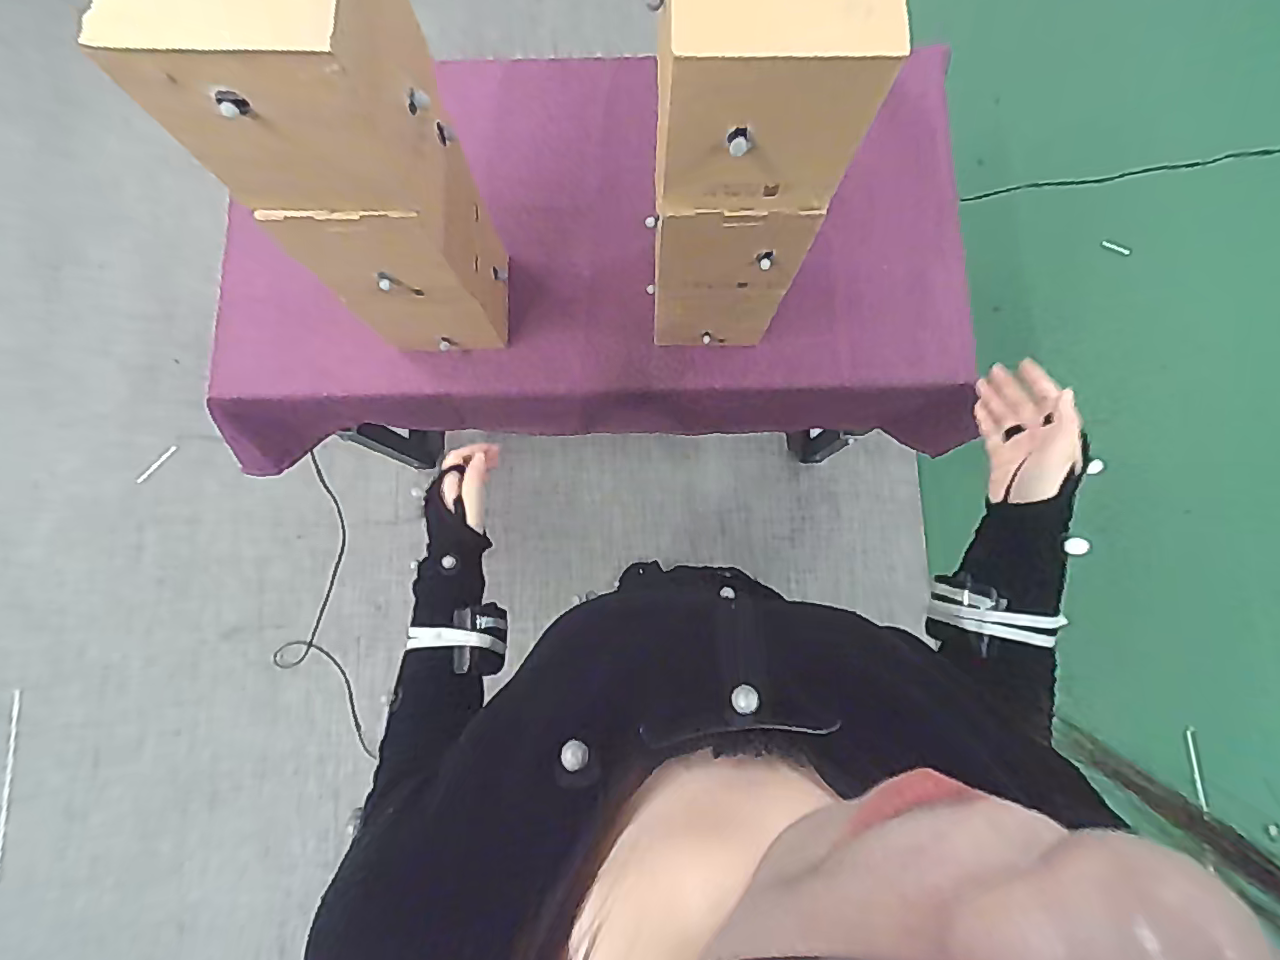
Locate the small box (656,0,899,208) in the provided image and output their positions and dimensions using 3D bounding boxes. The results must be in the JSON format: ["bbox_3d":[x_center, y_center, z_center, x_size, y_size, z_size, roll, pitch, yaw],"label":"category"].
[{"bbox_3d":[0.100,-0.362,0.468,0.168,0.176,0.179,-1,81,0],"label":"small box"}]

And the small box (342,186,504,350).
[{"bbox_3d":[-0.301,-0.299,0.788,0.179,0.176,0.168,-2,80,-1],"label":"small box"}]

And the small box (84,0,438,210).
[{"bbox_3d":[-0.295,-0.357,0.464,0.179,0.176,0.168,1,81,-1],"label":"small box"}]

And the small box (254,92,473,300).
[{"bbox_3d":[-0.300,-0.330,0.626,0.168,0.176,0.179,-1,81,0],"label":"small box"}]

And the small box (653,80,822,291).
[{"bbox_3d":[0.101,-0.335,0.628,0.168,0.176,0.179,-1,81,0],"label":"small box"}]
